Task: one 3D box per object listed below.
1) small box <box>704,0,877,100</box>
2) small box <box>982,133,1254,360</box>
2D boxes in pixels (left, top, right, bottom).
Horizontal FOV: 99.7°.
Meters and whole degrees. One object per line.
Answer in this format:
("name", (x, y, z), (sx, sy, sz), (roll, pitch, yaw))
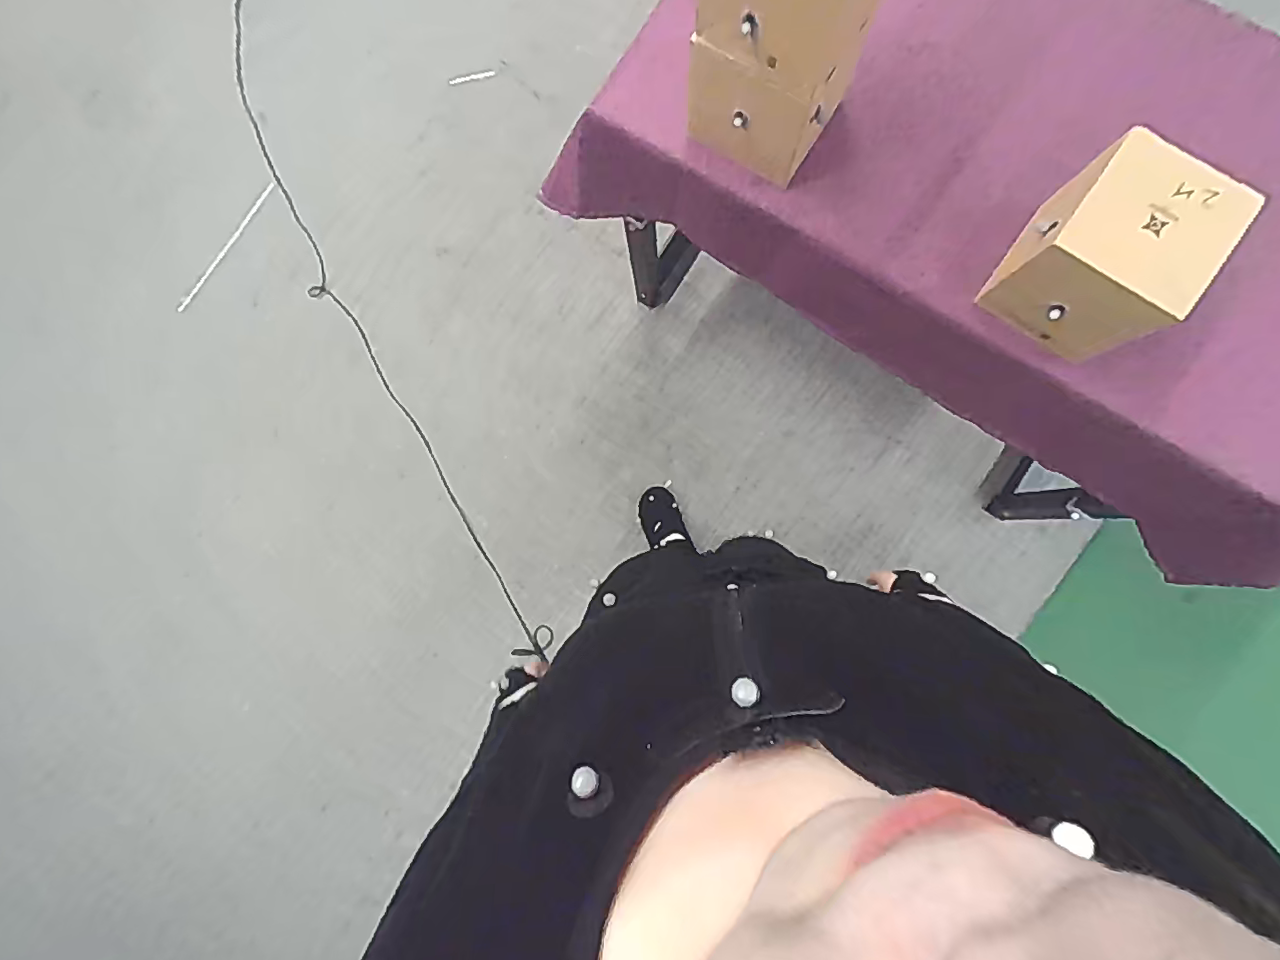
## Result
("small box", (0.179, -0.573, 0.581), (0.168, 0.176, 0.179), (33, 88, 5))
("small box", (0.589, -0.283, 0.700), (0.168, 0.176, 0.179), (36, 88, 5))
